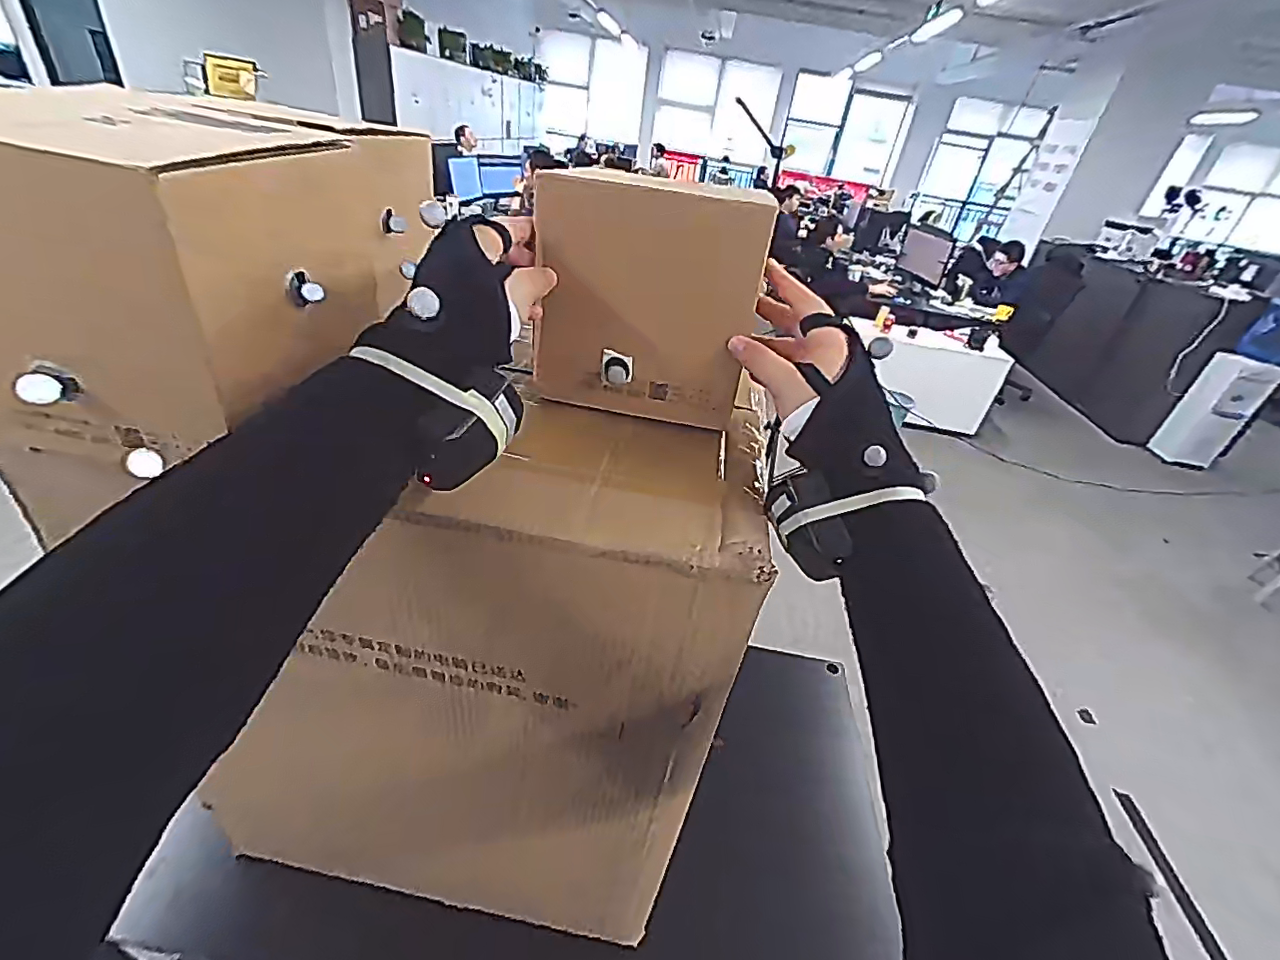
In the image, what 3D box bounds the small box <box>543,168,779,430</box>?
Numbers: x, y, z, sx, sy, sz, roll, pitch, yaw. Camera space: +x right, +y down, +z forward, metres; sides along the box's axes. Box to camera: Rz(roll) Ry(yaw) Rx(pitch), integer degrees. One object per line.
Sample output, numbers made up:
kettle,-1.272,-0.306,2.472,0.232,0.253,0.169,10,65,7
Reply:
small box,0.015,-0.163,0.472,0.168,0.176,0.179,9,32,4
